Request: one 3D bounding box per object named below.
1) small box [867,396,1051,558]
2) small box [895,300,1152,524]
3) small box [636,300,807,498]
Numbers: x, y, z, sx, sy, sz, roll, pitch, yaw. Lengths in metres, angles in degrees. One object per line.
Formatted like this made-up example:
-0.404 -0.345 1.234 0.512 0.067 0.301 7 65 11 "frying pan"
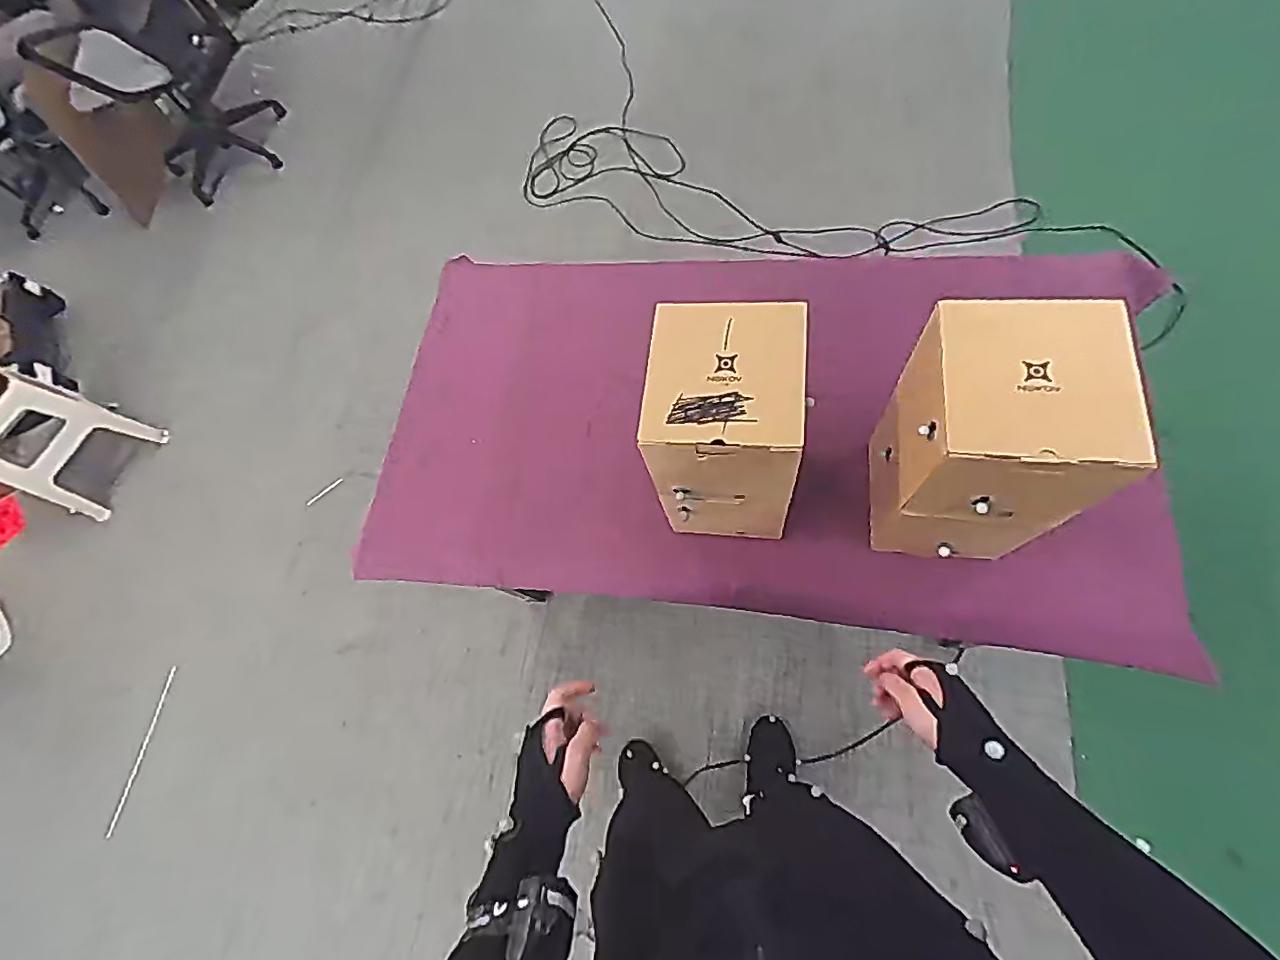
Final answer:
0.409 -0.006 0.726 0.168 0.176 0.179 5 70 12 "small box"
0.381 -0.066 0.577 0.168 0.176 0.179 5 70 12 "small box"
0.100 -0.087 0.635 0.168 0.176 0.179 4 69 12 "small box"
